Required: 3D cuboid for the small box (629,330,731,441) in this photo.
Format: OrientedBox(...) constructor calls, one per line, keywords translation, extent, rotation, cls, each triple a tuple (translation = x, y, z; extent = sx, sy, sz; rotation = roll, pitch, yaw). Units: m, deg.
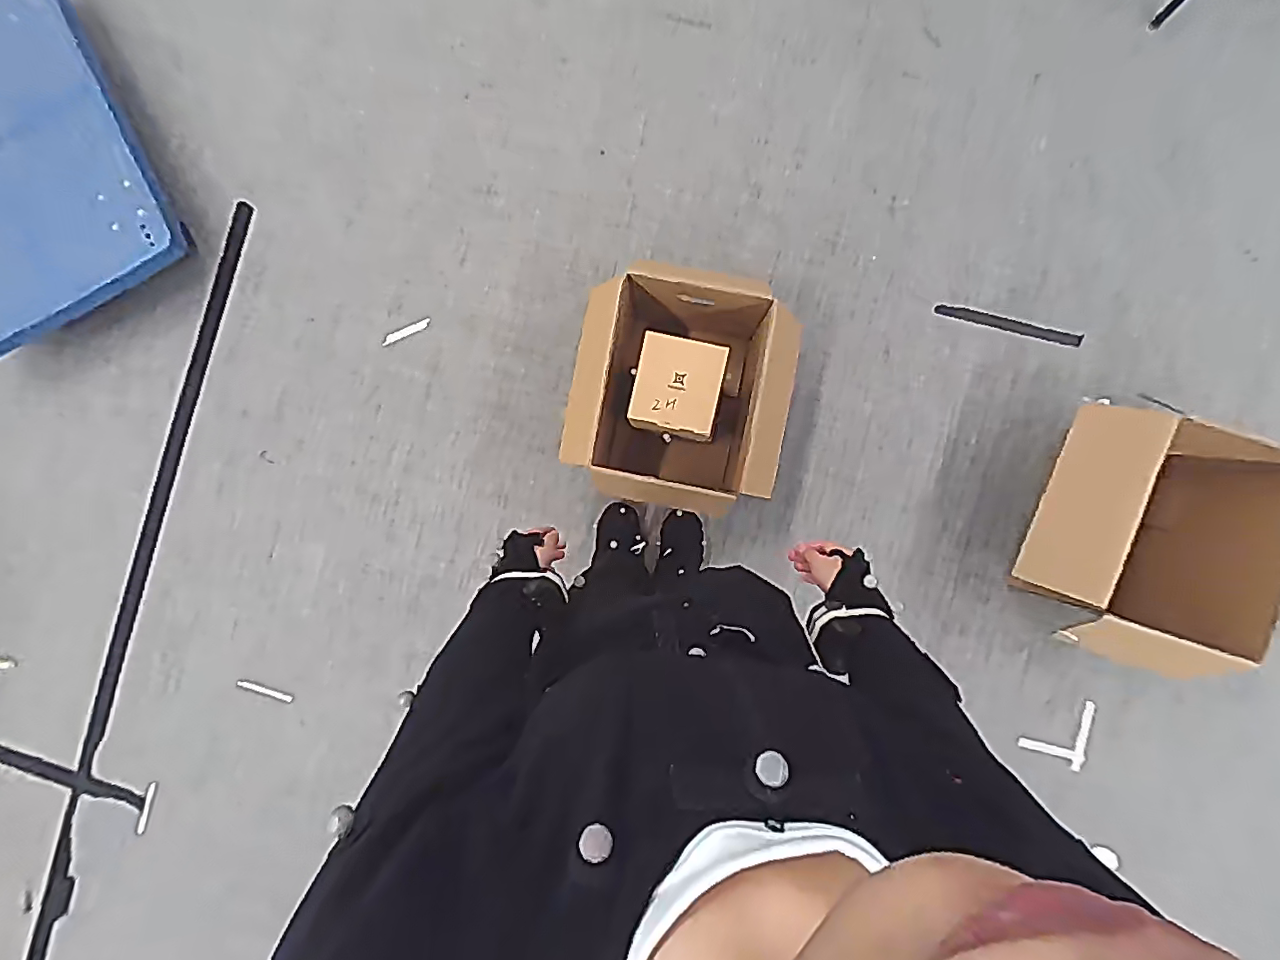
OrientedBox(translation=(0.080, -0.188, 1.119), extent=(0.168, 0.176, 0.179), rotation=(13, 91, 3), cls="small box")
